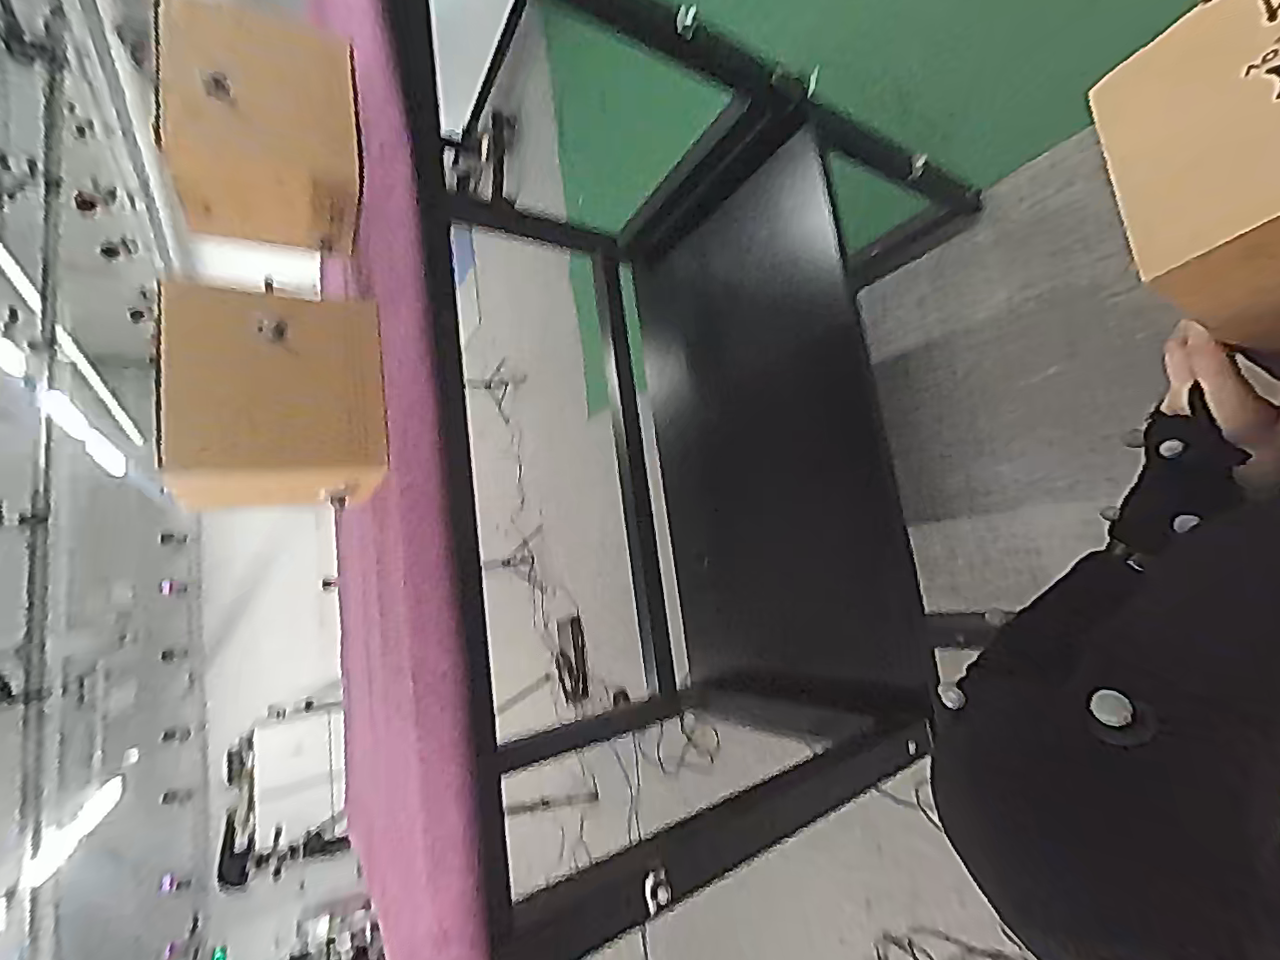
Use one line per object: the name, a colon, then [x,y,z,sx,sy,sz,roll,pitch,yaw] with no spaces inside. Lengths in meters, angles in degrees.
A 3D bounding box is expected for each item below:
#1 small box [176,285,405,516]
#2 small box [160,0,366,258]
small box: [-0.349,-0.068,0.551,0.168,0.176,0.179,-25,73,55]
small box: [-0.417,-0.376,0.621,0.168,0.176,0.179,-20,76,57]
